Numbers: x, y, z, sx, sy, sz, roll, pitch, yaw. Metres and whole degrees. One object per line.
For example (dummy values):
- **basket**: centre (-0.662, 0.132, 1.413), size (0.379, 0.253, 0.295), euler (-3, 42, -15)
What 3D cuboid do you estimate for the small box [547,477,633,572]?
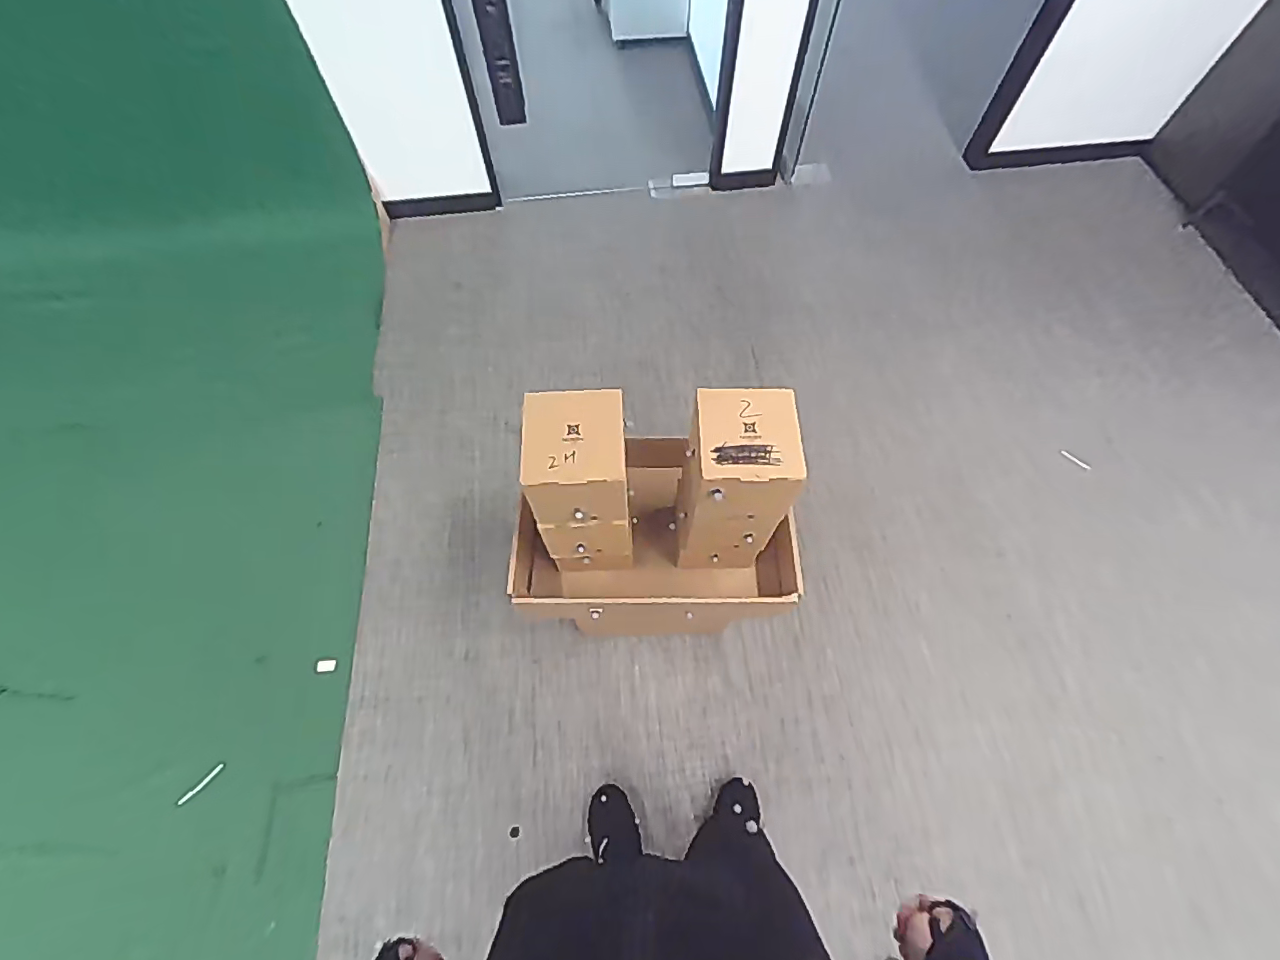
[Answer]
- **small box**: centre (-0.108, 0.106, 1.229), size (0.179, 0.176, 0.168), euler (-2, 63, -1)

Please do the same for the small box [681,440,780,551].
- **small box**: centre (0.172, 0.037, 1.082), size (0.168, 0.176, 0.179), euler (0, 62, -1)

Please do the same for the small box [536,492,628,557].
- **small box**: centre (-0.109, 0.042, 1.080), size (0.168, 0.176, 0.179), euler (-2, 63, -2)

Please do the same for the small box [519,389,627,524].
- **small box**: centre (-0.108, -0.037, 0.936), size (0.168, 0.176, 0.179), euler (-2, 63, -1)
